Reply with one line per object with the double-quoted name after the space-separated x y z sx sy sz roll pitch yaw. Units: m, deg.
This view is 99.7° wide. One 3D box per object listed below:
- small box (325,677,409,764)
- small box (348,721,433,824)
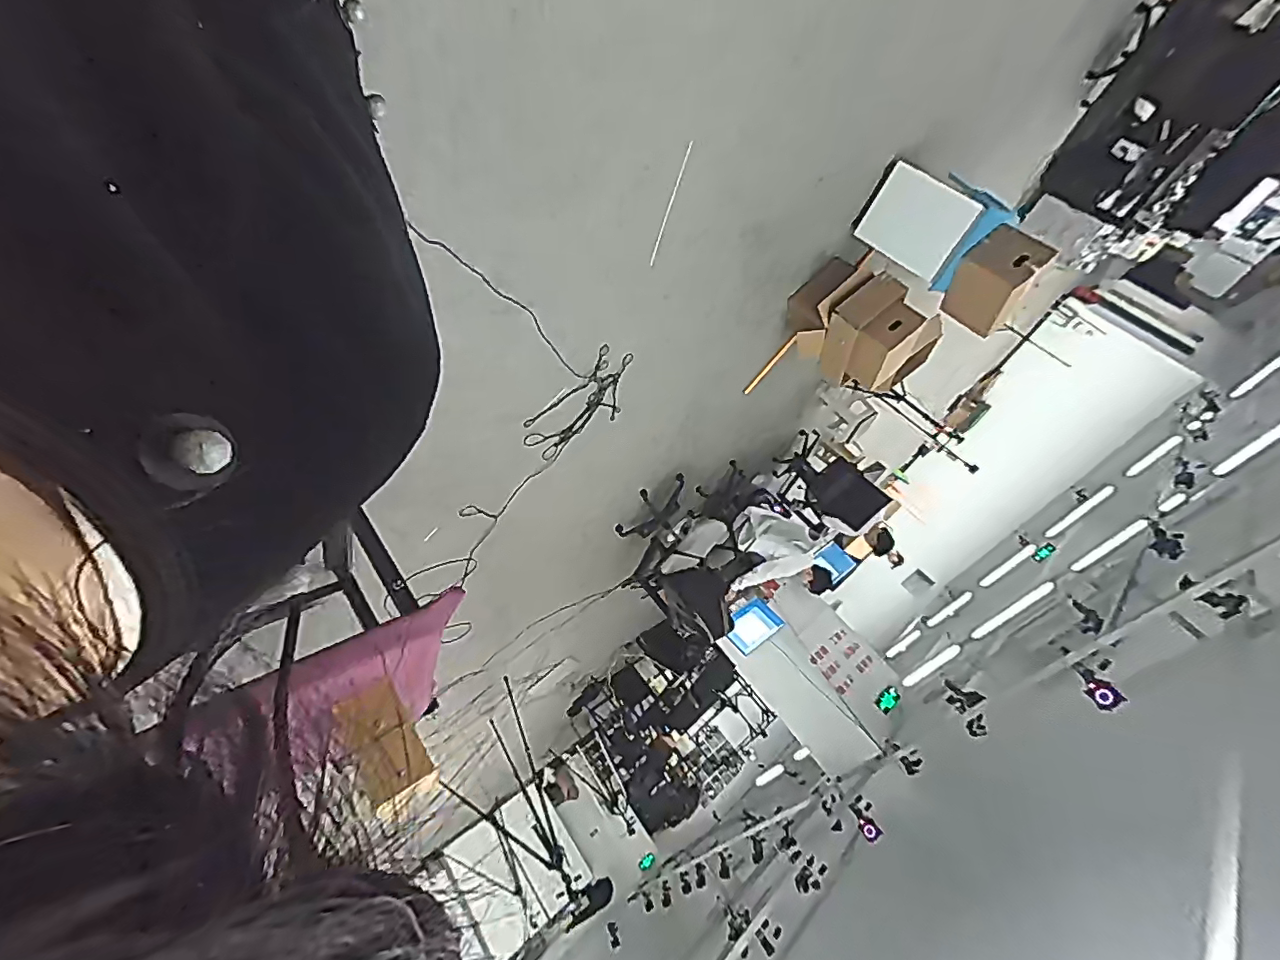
-0.813 0.726 1.619 0.179 0.176 0.168 -23 149 -36 "small box"
-0.716 0.833 1.548 0.179 0.176 0.168 -25 150 -35 "small box"
